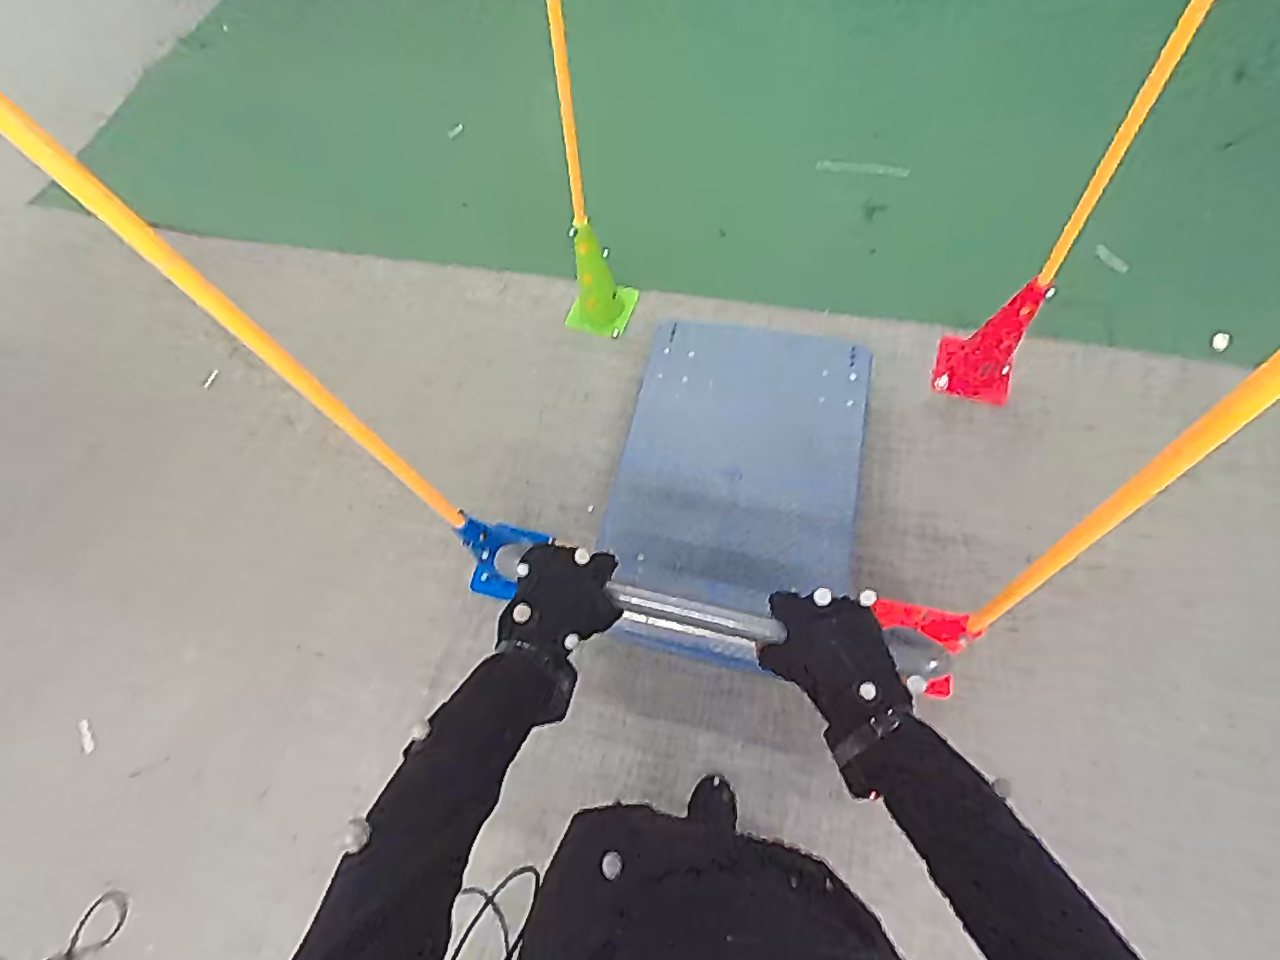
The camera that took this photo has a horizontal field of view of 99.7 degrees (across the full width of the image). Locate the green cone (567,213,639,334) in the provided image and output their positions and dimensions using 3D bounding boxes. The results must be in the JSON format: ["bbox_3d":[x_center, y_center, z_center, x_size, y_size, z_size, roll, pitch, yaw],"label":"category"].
[{"bbox_3d":[-0.141,-0.643,1.632,0.202,0.368,0.200,15,69,13],"label":"green cone"}]

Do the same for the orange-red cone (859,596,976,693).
[{"bbox_3d":[0.614,0.324,1.145,0.199,0.360,0.198,10,68,13],"label":"orange-red cone"}]
